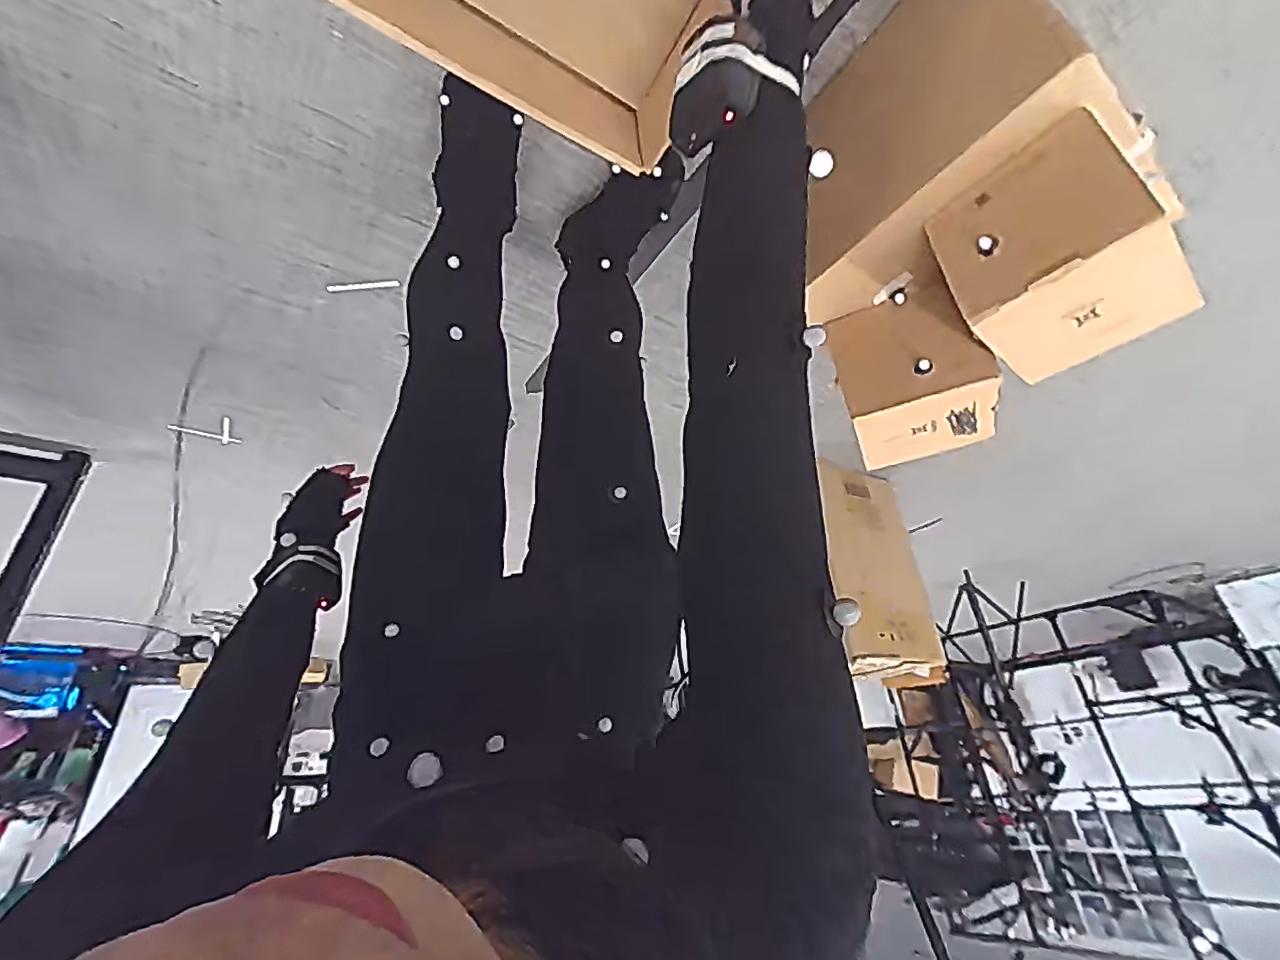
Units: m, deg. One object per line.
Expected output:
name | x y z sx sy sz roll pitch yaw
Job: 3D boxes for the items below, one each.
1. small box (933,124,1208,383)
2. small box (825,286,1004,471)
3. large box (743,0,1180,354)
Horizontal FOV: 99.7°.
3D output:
small box | 0.456 -0.242 0.592 0.179 0.176 0.168 17 147 -34
small box | 0.379 -0.139 0.765 0.179 0.176 0.168 -16 149 22
large box | 0.412 -0.411 0.783 0.320 0.320 0.408 16 146 -31
